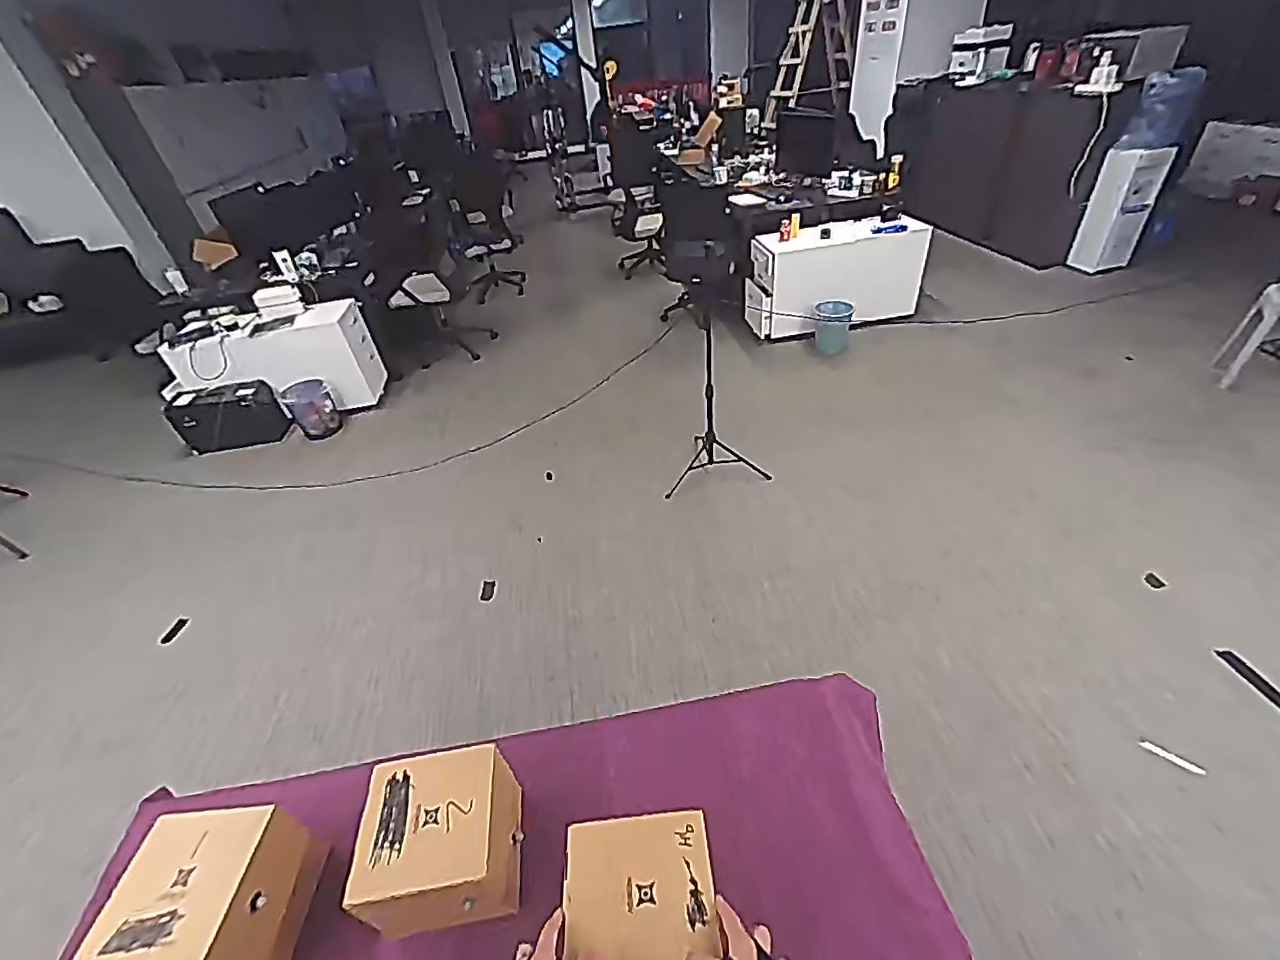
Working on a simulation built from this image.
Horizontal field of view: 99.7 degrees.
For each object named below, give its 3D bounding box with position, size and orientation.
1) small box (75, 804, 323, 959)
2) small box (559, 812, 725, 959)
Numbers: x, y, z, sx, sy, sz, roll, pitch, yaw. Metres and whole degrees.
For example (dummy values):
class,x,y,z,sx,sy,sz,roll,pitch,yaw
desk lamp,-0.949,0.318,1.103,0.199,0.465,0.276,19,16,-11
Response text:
class,x,y,z,sx,sy,sz,roll,pitch,yaw
small box,-0.565,0.566,0.723,0.168,0.176,0.179,-6,39,2
small box,0.008,0.536,0.656,0.179,0.176,0.168,-7,36,2
